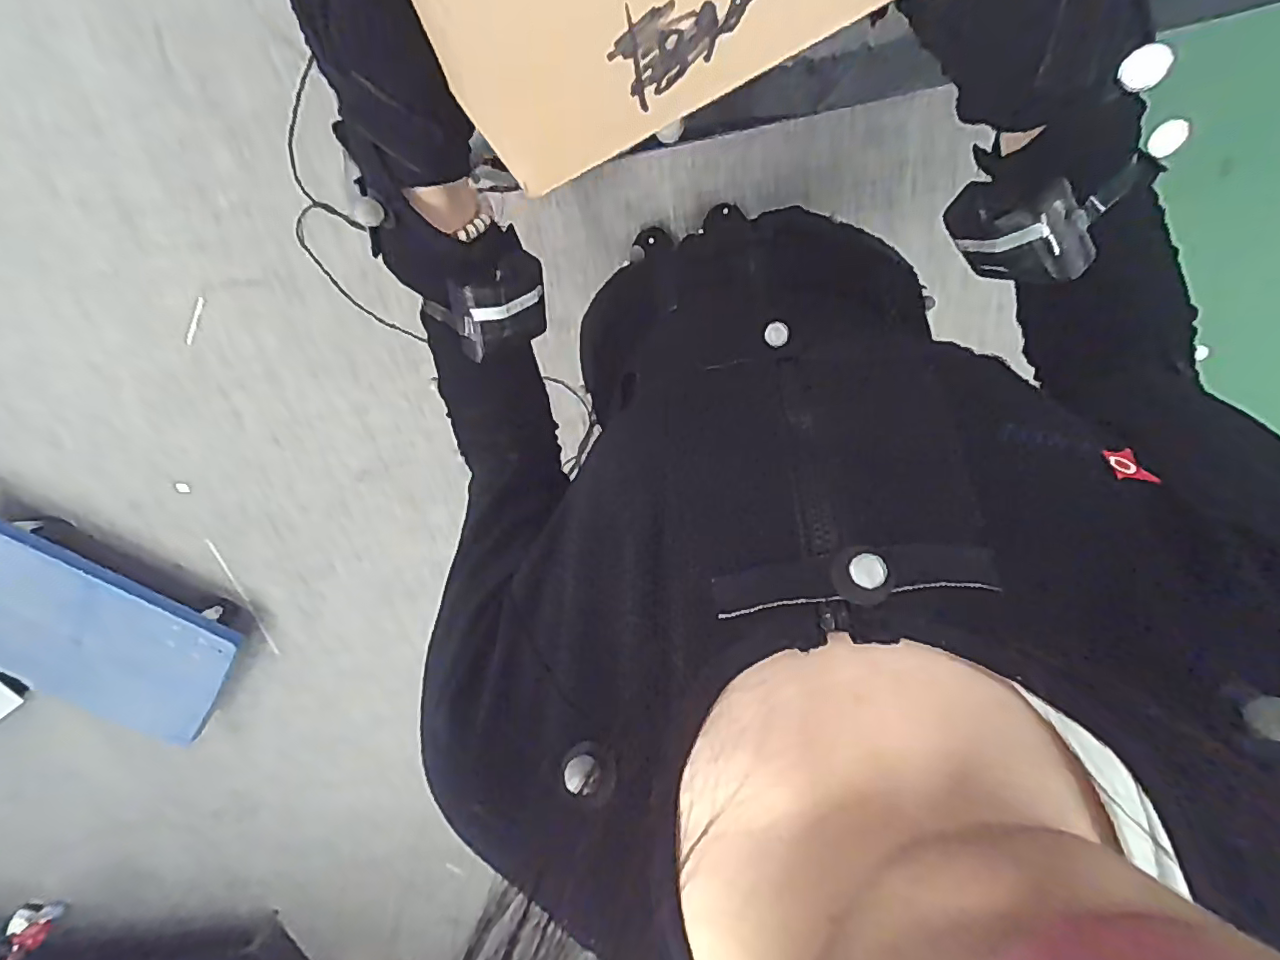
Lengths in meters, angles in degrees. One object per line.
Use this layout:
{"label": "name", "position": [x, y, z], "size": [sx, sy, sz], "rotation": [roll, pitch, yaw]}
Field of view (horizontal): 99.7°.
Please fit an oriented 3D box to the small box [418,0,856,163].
{"label": "small box", "position": [-0.022, -0.250, 0.177], "size": [0.168, 0.176, 0.179], "rotation": [-29, 141, -1]}
